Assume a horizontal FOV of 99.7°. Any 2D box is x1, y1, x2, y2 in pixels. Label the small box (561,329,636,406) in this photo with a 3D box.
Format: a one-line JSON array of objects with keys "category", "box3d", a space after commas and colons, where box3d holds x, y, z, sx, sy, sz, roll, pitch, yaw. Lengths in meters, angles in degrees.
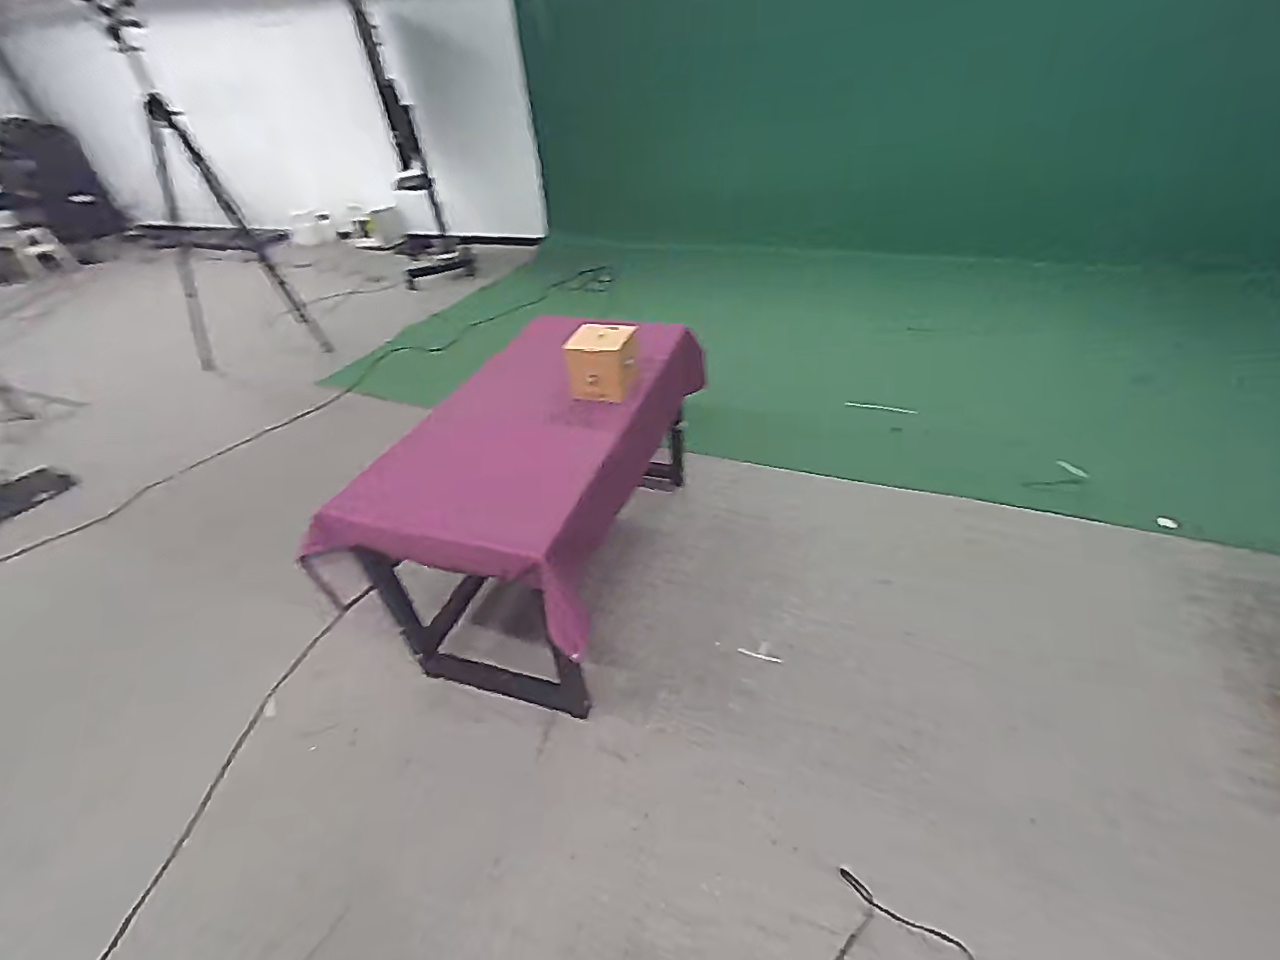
[{"category": "small box", "box3d": [-0.116, -0.339, 1.631, 0.168, 0.176, 0.179, 8, 41, 16]}]
